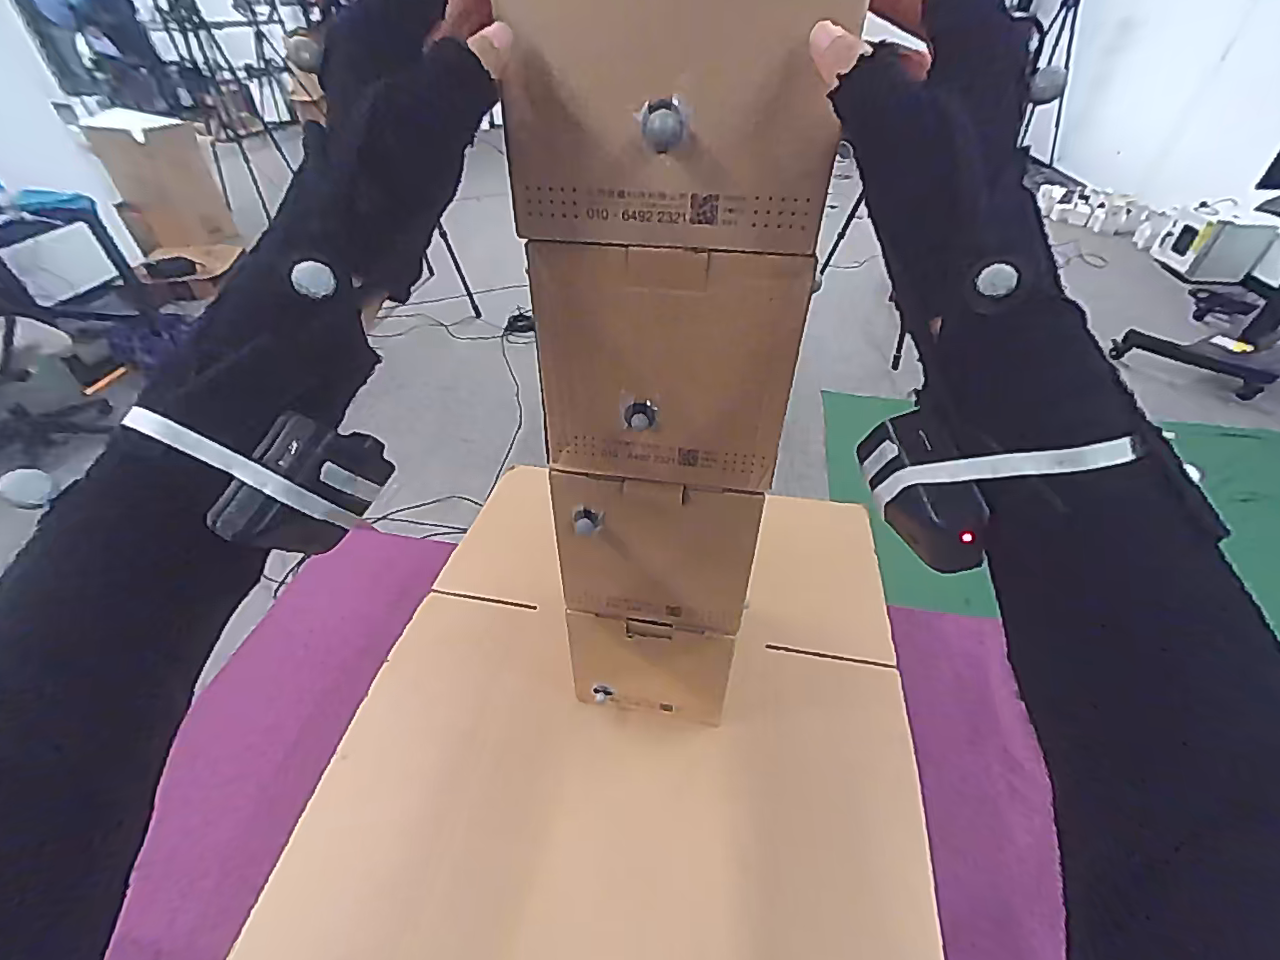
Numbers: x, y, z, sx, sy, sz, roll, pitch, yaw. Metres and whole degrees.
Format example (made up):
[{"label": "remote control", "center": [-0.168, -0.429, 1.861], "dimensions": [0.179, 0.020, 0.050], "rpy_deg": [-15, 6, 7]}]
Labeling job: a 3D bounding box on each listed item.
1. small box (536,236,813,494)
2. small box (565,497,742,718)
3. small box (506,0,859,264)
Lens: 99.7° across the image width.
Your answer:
[{"label": "small box", "center": [0.027, -0.113, 0.424], "dimensions": [0.168, 0.176, 0.179], "rpy_deg": [6, 39, 6]}, {"label": "small box", "center": [0.023, 0.145, 0.624], "dimensions": [0.168, 0.176, 0.179], "rpy_deg": [7, 39, 8]}, {"label": "small box", "center": [0.025, -0.243, 0.321], "dimensions": [0.168, 0.176, 0.179], "rpy_deg": [5, 39, 6]}]
